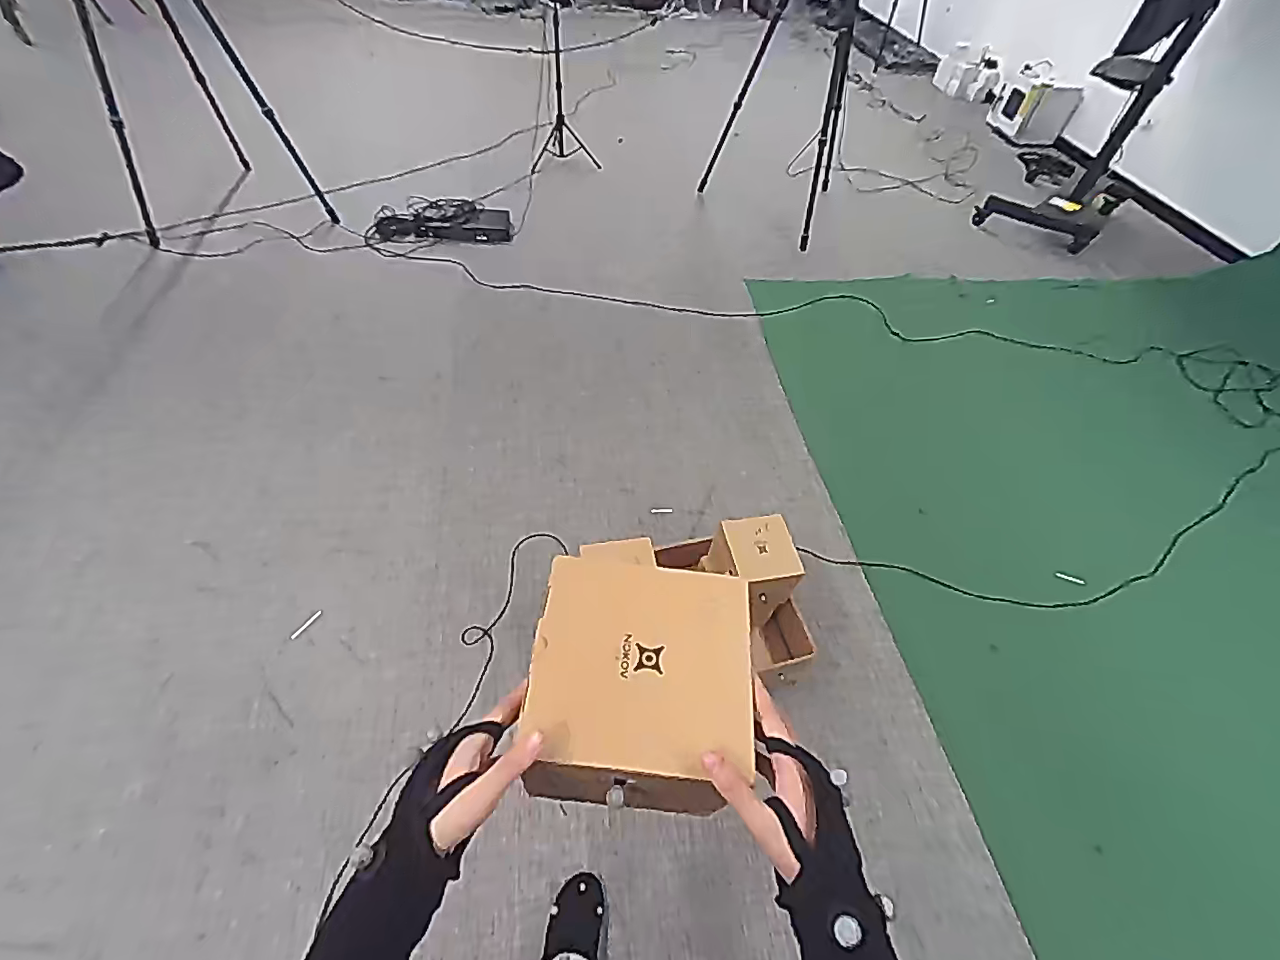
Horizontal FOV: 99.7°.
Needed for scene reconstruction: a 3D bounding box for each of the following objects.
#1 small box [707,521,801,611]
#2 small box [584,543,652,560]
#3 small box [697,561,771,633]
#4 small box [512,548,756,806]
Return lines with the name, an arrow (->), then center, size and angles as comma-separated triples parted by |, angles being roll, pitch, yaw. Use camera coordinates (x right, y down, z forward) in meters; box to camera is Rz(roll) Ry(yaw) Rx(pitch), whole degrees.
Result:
small box -> 0.281, 0.227, 1.374 | 0.168, 0.176, 0.179 | -5, 53, -12
small box -> -0.059, 0.271, 1.303 | 0.179, 0.176, 0.168 | -5, 55, -12
small box -> 0.251, 0.328, 1.503 | 0.179, 0.176, 0.168 | -6, 54, -10
small box -> -0.002, 0.183, 0.488 | 0.179, 0.176, 0.168 | 7, 51, 0
